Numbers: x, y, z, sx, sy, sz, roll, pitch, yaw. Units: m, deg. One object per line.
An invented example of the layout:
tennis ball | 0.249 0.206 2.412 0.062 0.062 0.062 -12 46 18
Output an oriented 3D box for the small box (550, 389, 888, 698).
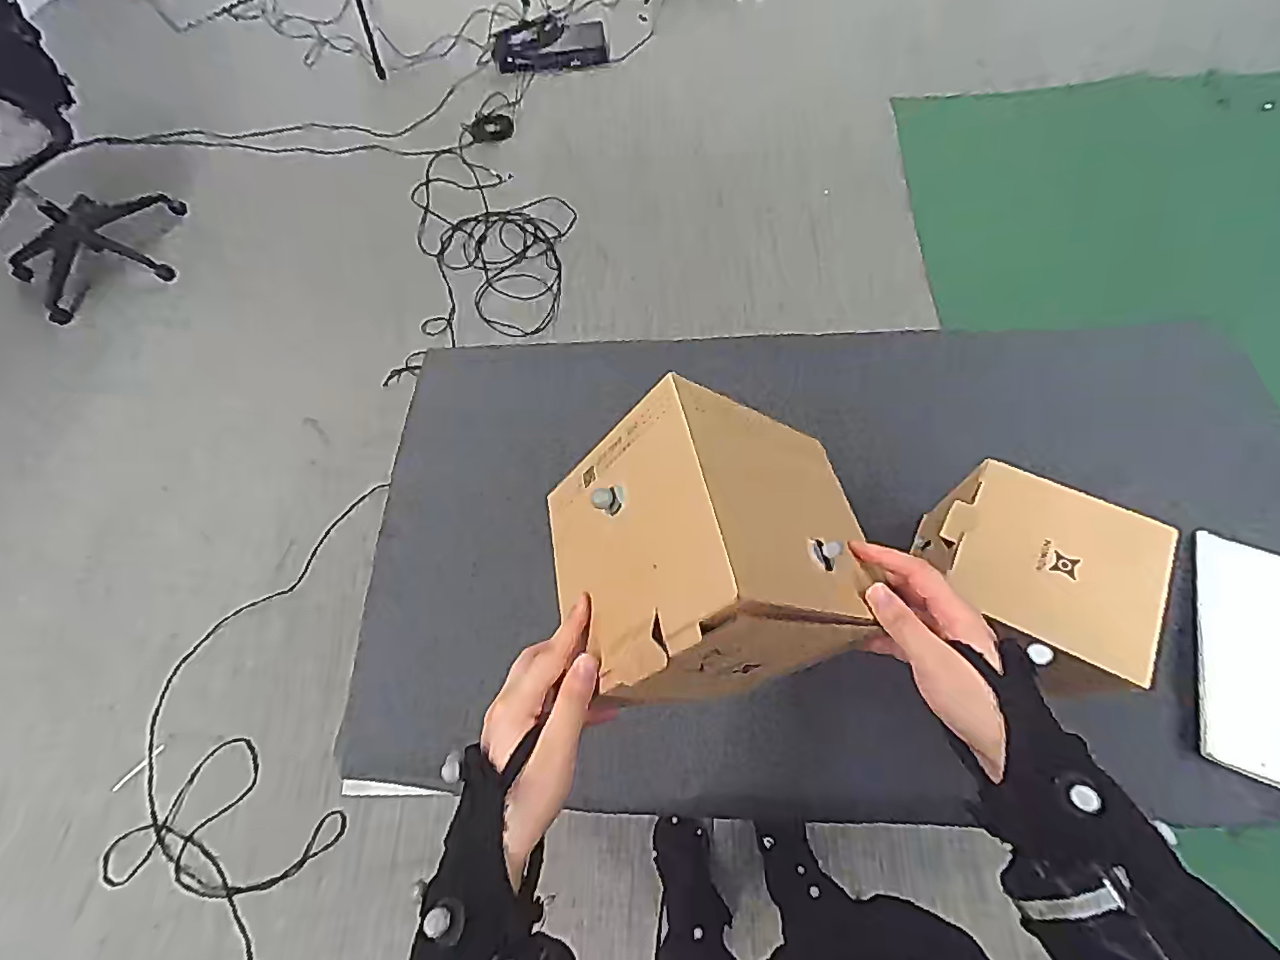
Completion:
small box | 0.047 0.057 0.422 0.168 0.179 0.176 -44 44 34

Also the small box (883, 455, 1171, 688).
small box | 0.395 0.106 0.581 0.179 0.176 0.168 25 70 16
